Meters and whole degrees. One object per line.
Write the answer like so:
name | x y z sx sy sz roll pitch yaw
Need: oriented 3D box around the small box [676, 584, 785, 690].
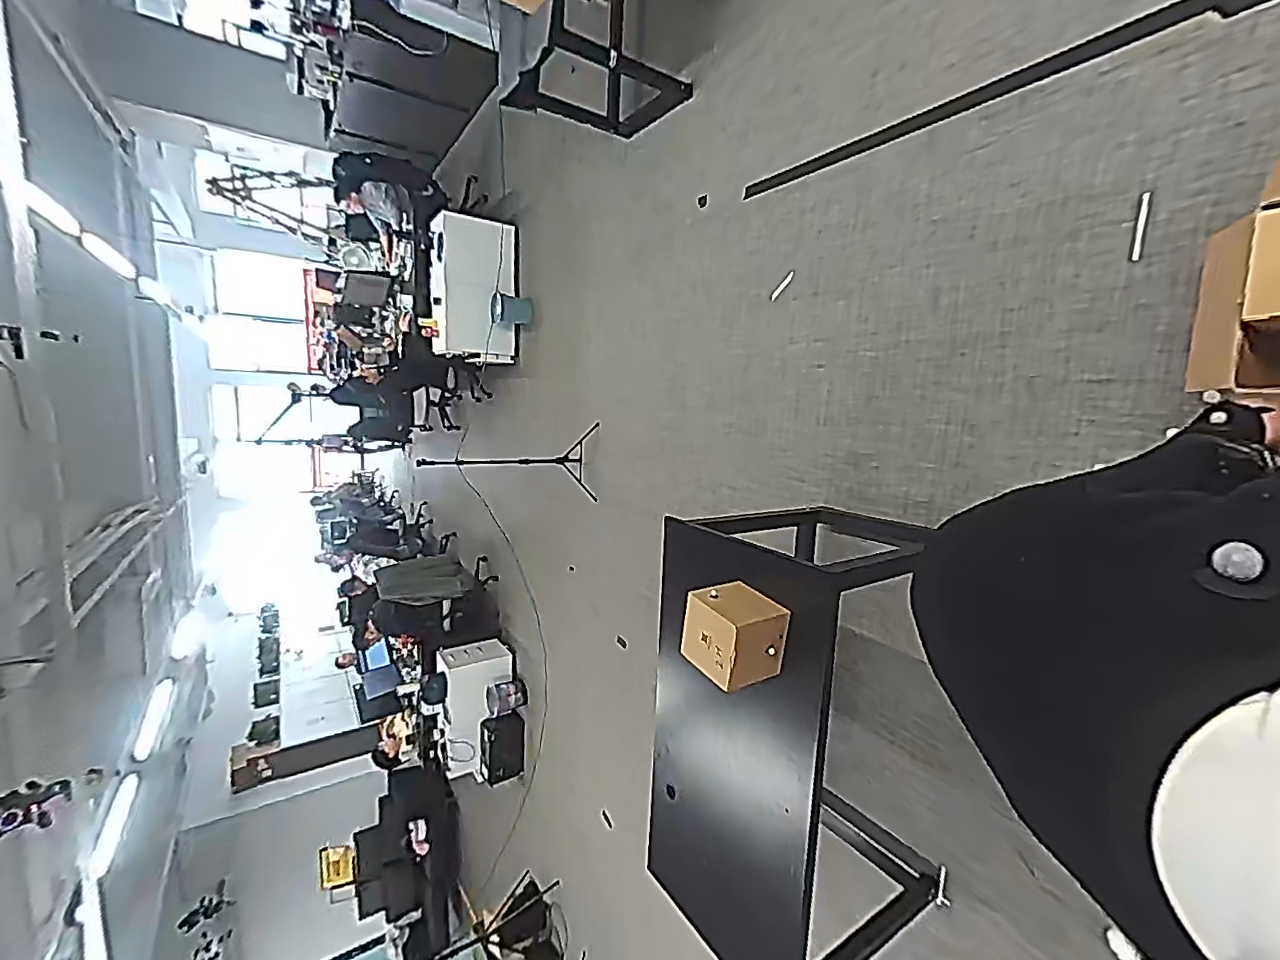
small box | 0.211 0.359 1.276 0.179 0.176 0.168 27 116 53
